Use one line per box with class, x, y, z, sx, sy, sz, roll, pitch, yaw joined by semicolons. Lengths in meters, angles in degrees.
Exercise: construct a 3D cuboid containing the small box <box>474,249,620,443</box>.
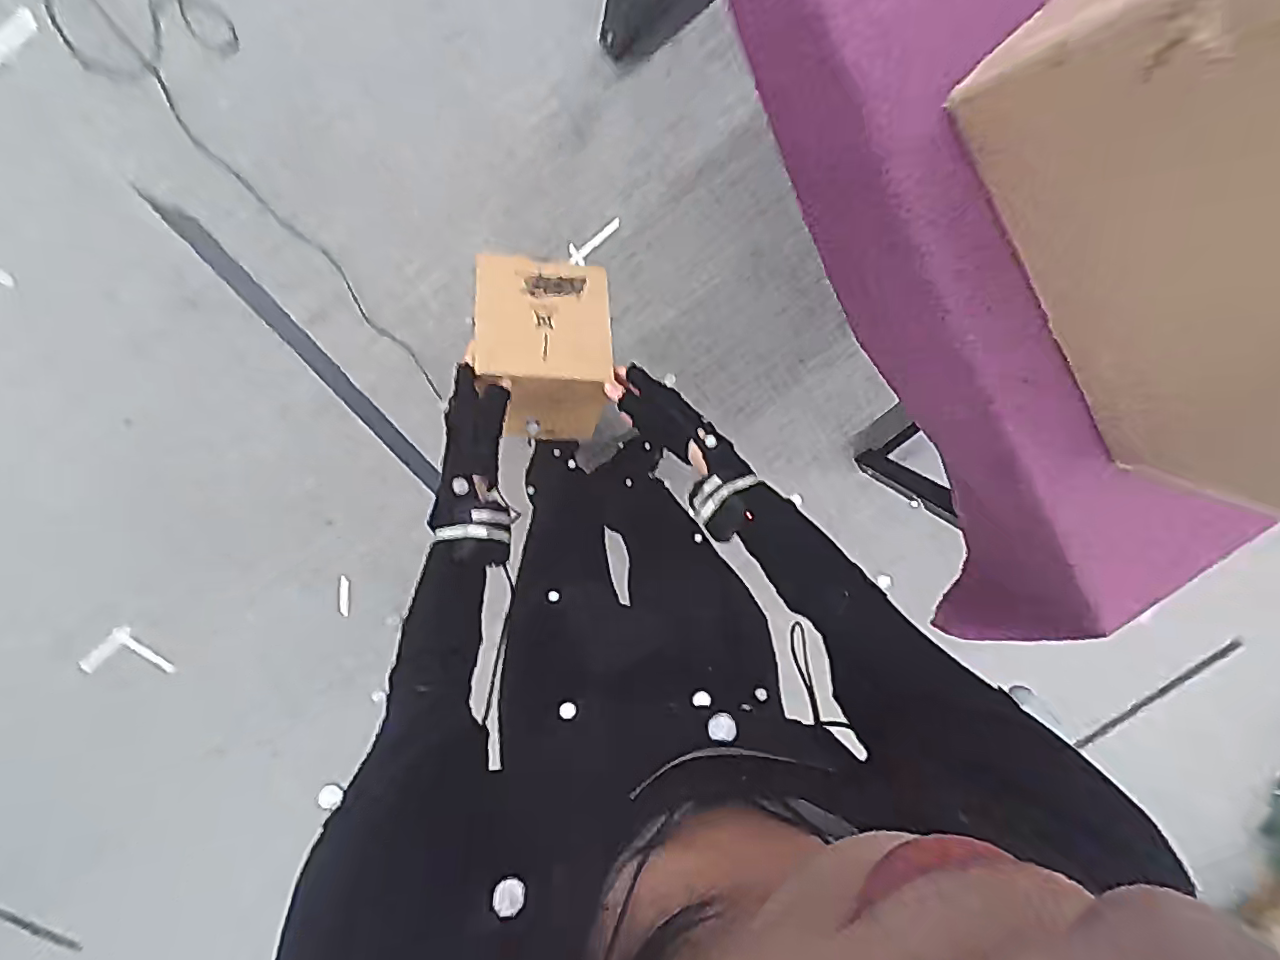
small box;-0.130;-0.167;0.716;0.168;0.176;0.179;2;69;-17
